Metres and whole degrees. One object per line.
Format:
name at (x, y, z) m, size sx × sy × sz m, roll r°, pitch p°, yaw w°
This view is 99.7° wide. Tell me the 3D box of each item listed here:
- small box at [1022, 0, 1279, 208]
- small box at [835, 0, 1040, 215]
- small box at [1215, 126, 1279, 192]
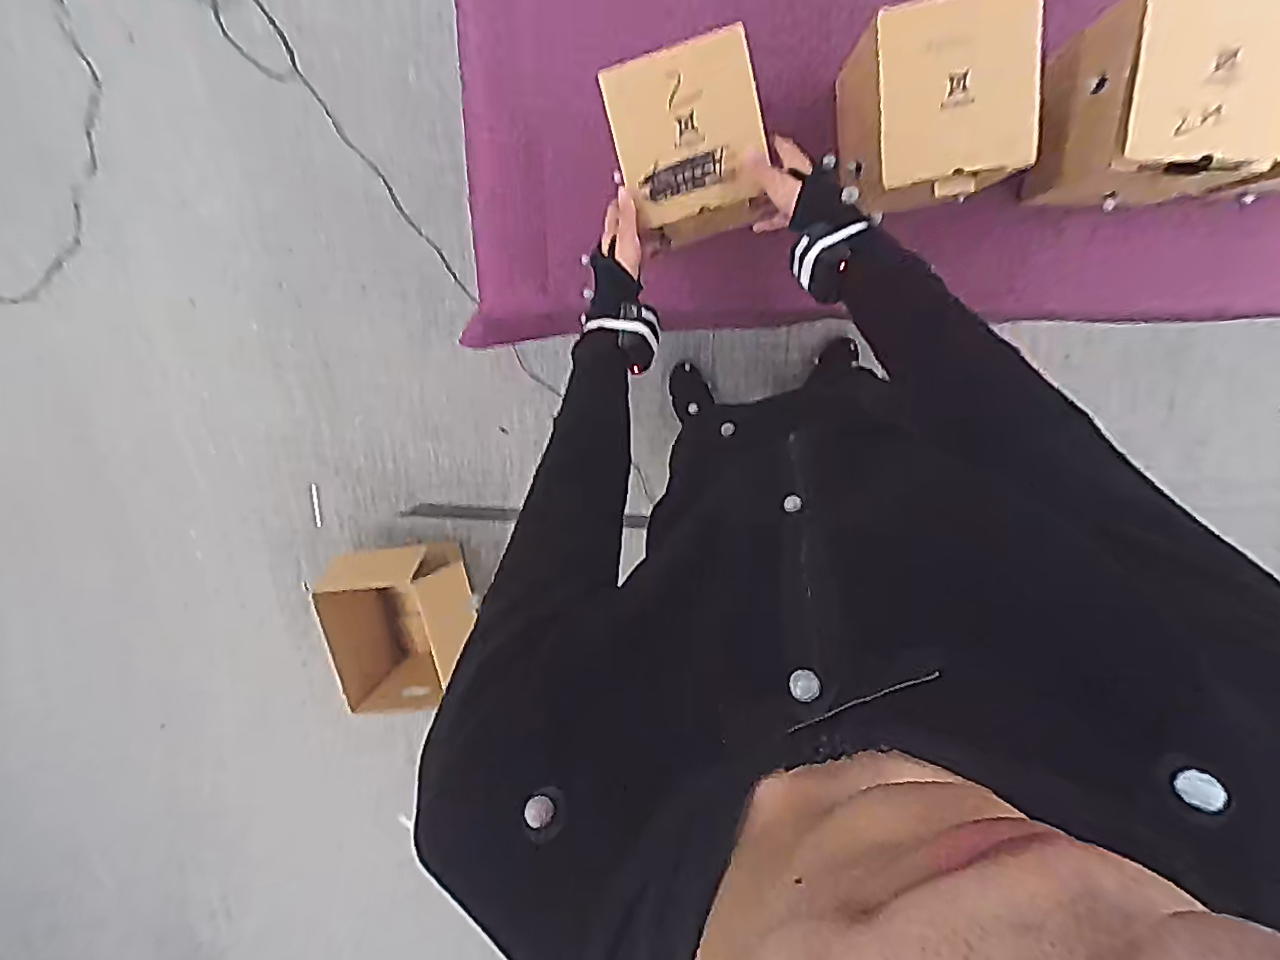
small box at (0.591, -0.436, 0.634) m, size 0.168 × 0.176 × 0.179 m, roll 3°, pitch 105°, yaw 5°
small box at (0.345, -0.437, 0.657) m, size 0.168 × 0.176 × 0.179 m, roll -7°, pitch 104°, yaw 6°
small box at (0.810, -0.443, 0.613) m, size 0.168 × 0.176 × 0.179 m, roll -3°, pitch 103°, yaw 6°
